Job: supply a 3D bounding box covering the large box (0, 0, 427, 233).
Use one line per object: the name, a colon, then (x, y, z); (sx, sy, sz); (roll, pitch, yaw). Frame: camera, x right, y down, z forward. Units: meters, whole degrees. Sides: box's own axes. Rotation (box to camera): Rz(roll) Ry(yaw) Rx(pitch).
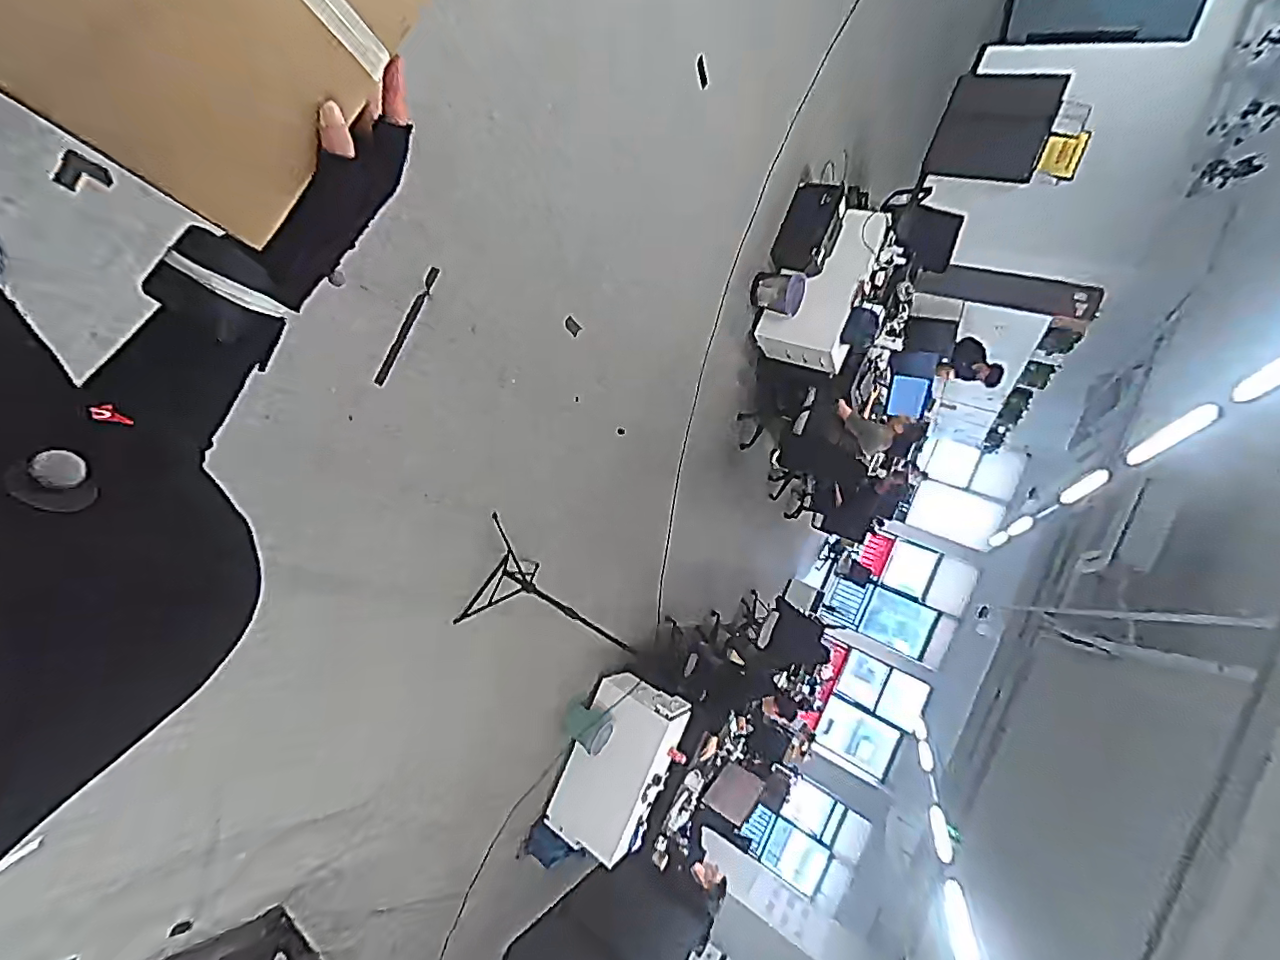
large box: (-0.382, -0.428, 0.297); (0.320, 0.320, 0.408); (-55, 151, 0)
